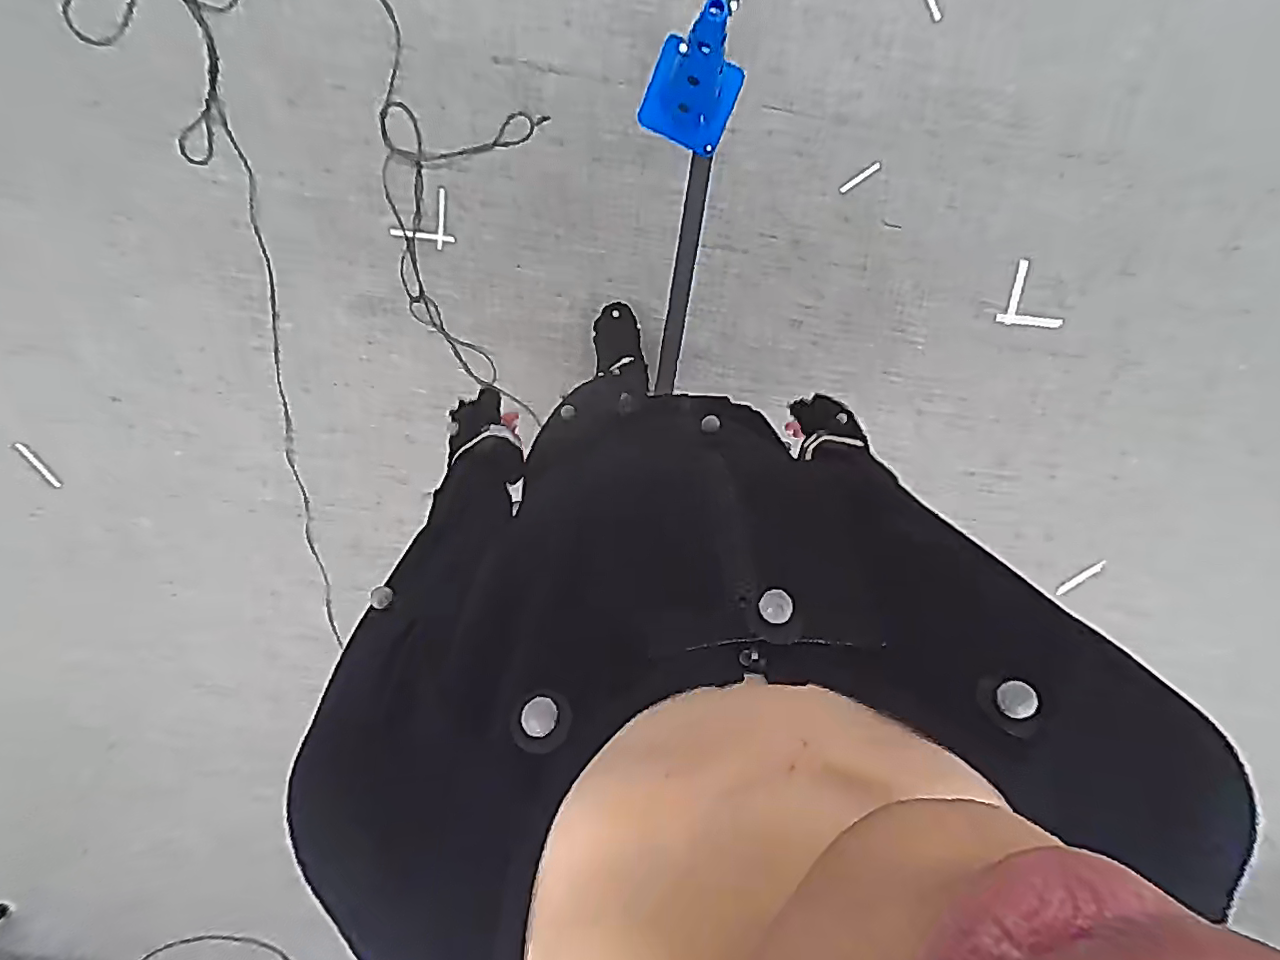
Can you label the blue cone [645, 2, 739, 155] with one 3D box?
[{"bbox_3d":[0.127,-0.844,1.098,0.192,0.380,0.193,23,102,-9],"label":"blue cone"}]
